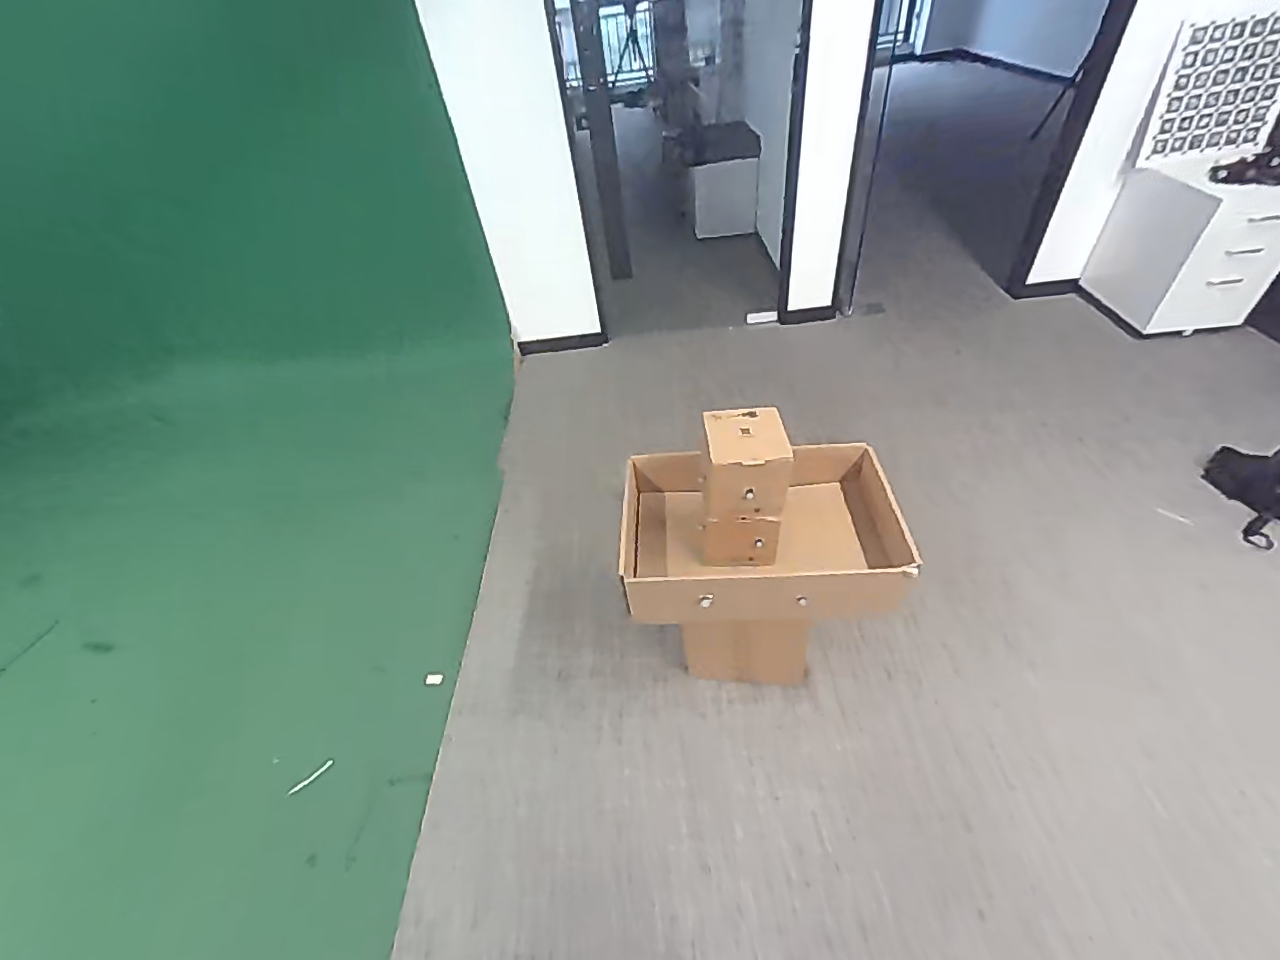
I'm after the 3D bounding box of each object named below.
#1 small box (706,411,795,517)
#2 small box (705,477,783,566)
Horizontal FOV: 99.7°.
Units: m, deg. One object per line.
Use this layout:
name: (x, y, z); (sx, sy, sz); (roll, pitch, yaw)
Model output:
small box: (0.235, -0.030, 1.195); (0.168, 0.176, 0.179); (-3, 44, 2)
small box: (0.244, 0.094, 1.302); (0.168, 0.176, 0.179); (-1, 42, 3)
